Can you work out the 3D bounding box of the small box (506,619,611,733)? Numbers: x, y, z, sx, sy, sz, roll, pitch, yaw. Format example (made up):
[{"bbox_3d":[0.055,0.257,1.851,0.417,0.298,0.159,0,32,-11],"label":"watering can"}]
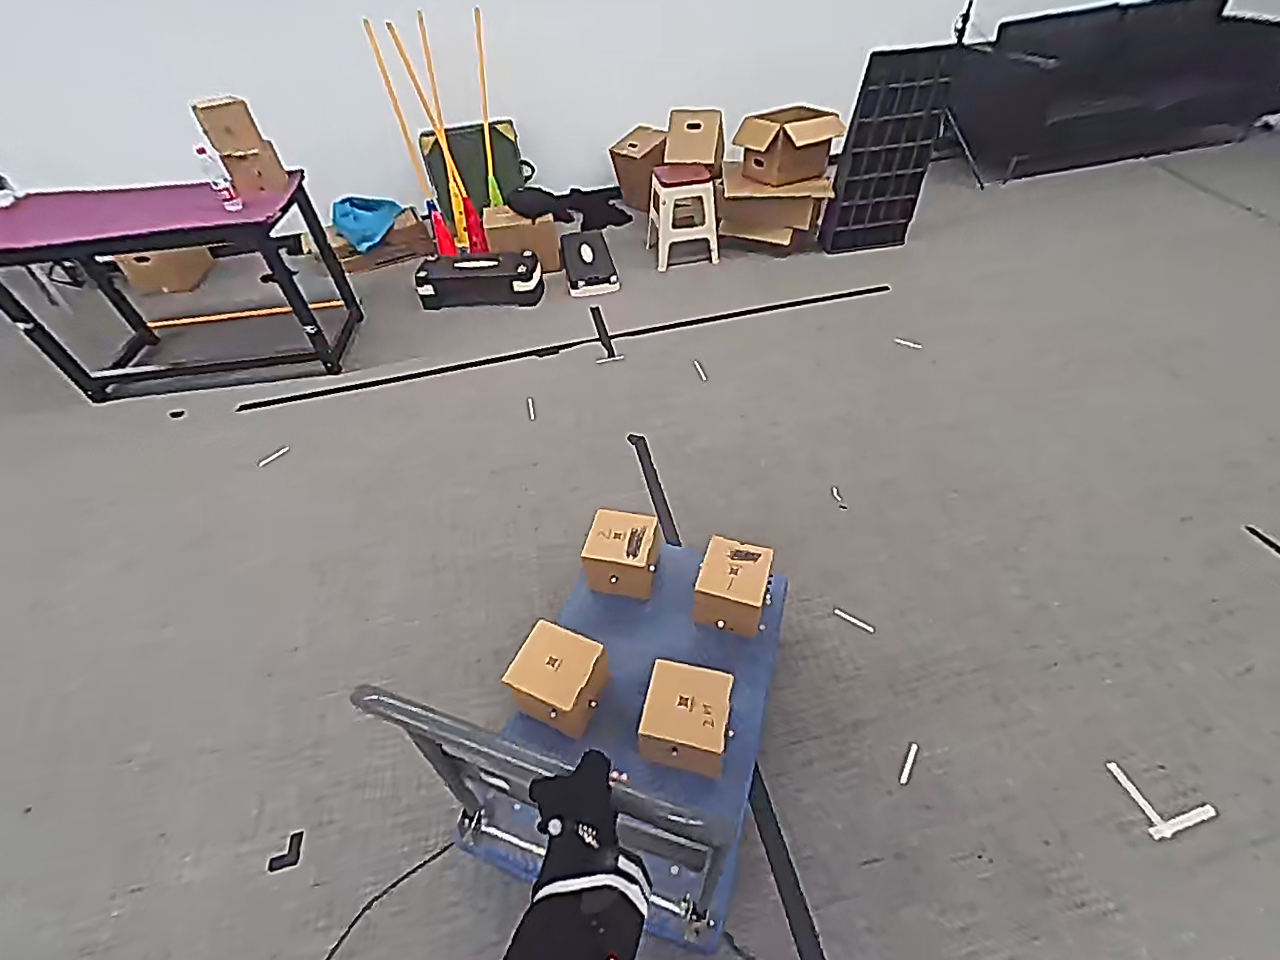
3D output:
[{"bbox_3d":[-0.182,0.463,1.270,0.179,0.176,0.168,17,50,18],"label":"small box"}]

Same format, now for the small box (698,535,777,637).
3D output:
[{"bbox_3d":[0.250,0.276,1.412,0.168,0.176,0.179,13,50,16],"label":"small box"}]

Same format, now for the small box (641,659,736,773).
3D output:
[{"bbox_3d":[0.110,0.522,1.191,0.179,0.176,0.168,8,48,13],"label":"small box"}]
